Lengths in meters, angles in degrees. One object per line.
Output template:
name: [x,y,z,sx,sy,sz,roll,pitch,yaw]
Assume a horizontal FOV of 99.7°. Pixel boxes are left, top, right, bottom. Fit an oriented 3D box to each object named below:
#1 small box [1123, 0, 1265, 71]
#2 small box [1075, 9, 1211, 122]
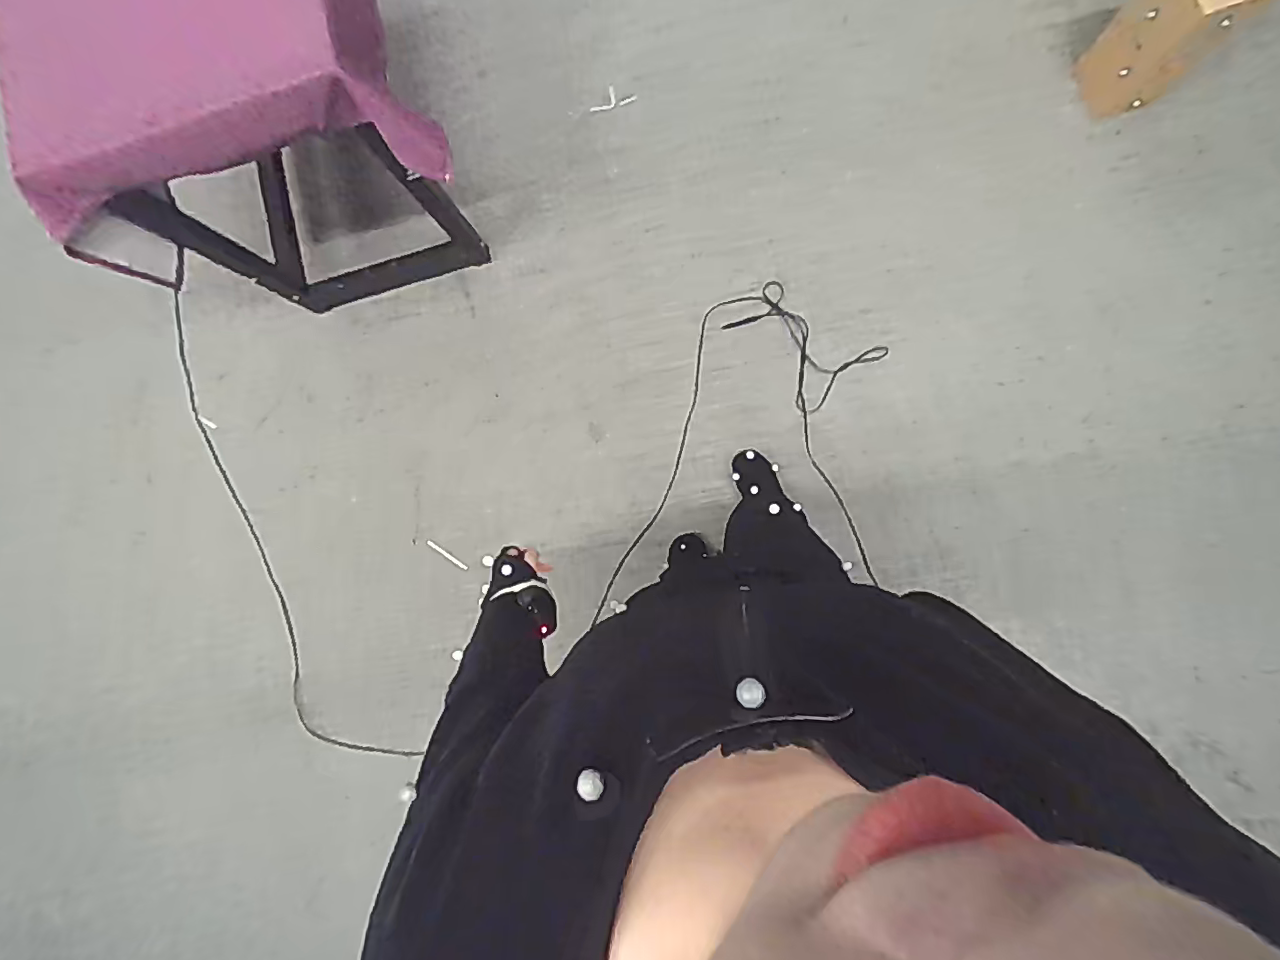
small box: [1.237,-1.067,1.205,0.179,0.176,0.168,-16,86,5]
small box: [1.258,-1.064,1.369,0.168,0.176,0.179,-16,86,5]
